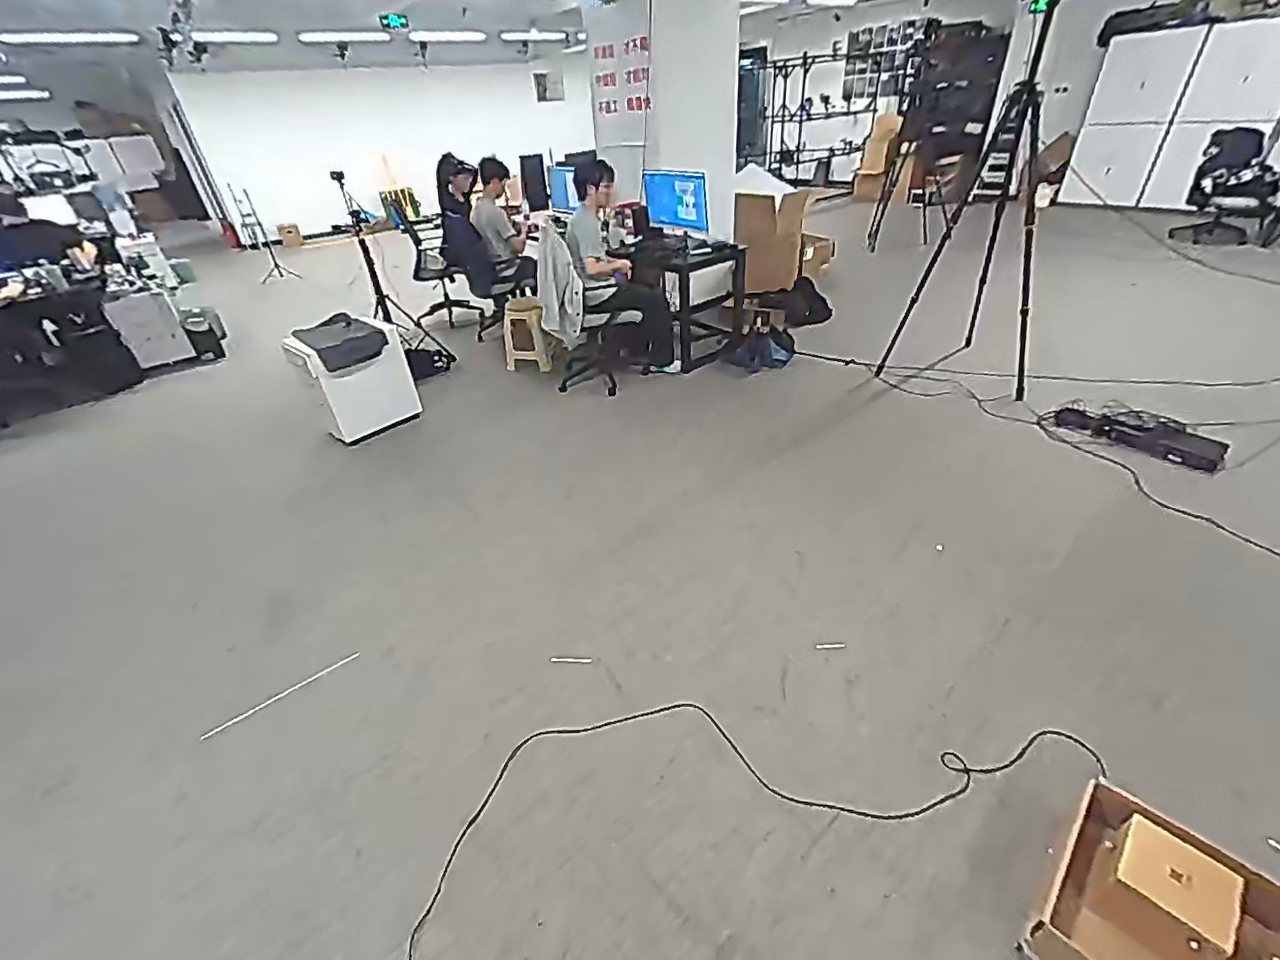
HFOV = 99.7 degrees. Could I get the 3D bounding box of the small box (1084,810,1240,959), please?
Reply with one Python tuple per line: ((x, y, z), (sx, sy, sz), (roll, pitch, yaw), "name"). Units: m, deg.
((1.076, 0.848, 1.126), (0.168, 0.176, 0.179), (-33, 45, -32), "small box")
